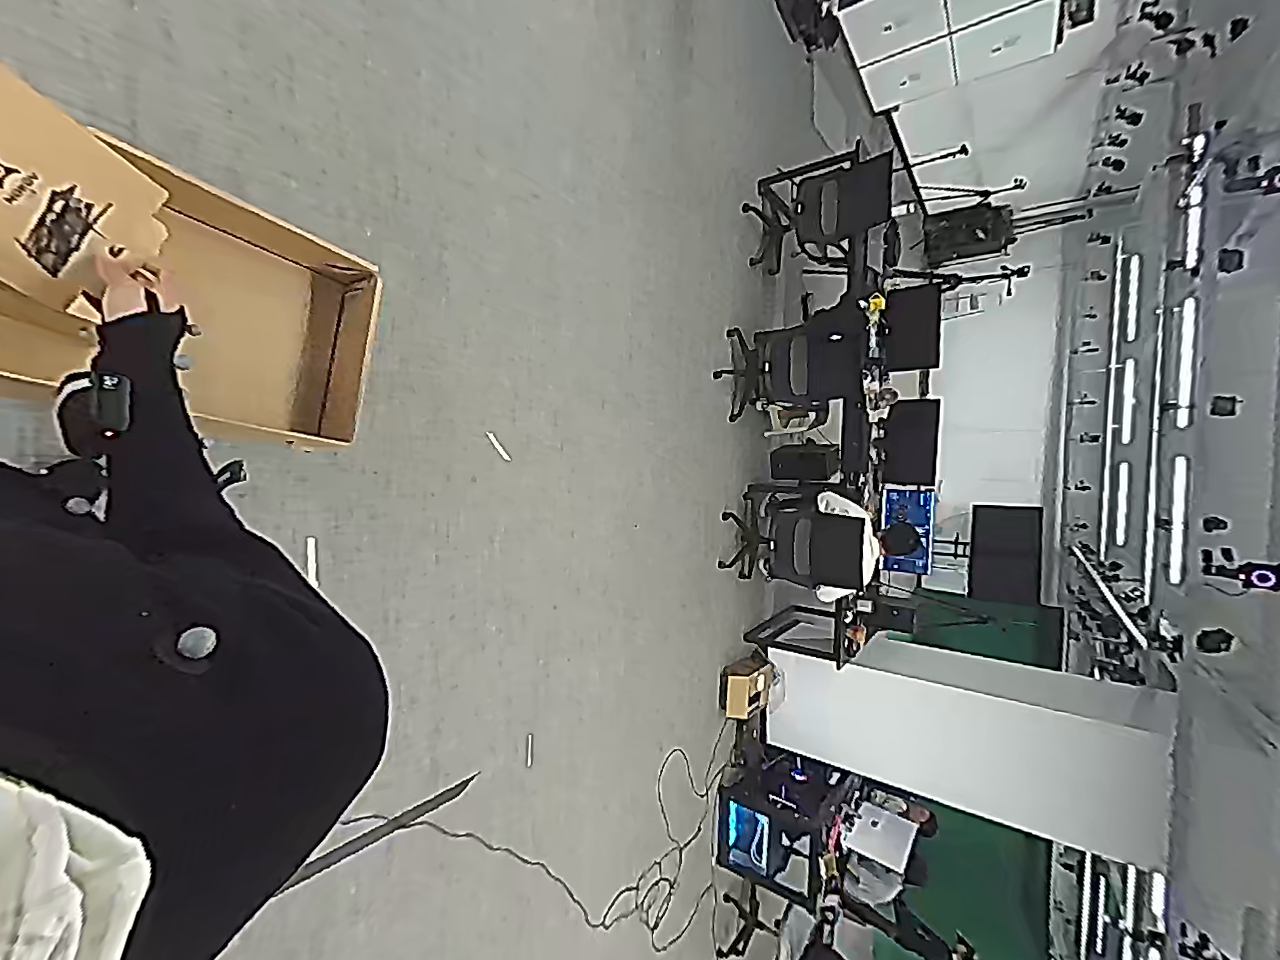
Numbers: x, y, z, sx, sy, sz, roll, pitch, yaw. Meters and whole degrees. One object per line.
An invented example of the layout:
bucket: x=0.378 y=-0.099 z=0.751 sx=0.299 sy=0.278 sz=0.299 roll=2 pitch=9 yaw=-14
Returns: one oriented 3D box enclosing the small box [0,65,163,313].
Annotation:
small box: x=-0.641 y=-0.292 z=0.530 sx=0.168 sy=0.176 sz=0.179 roll=-64 pitch=146 yaw=-15
